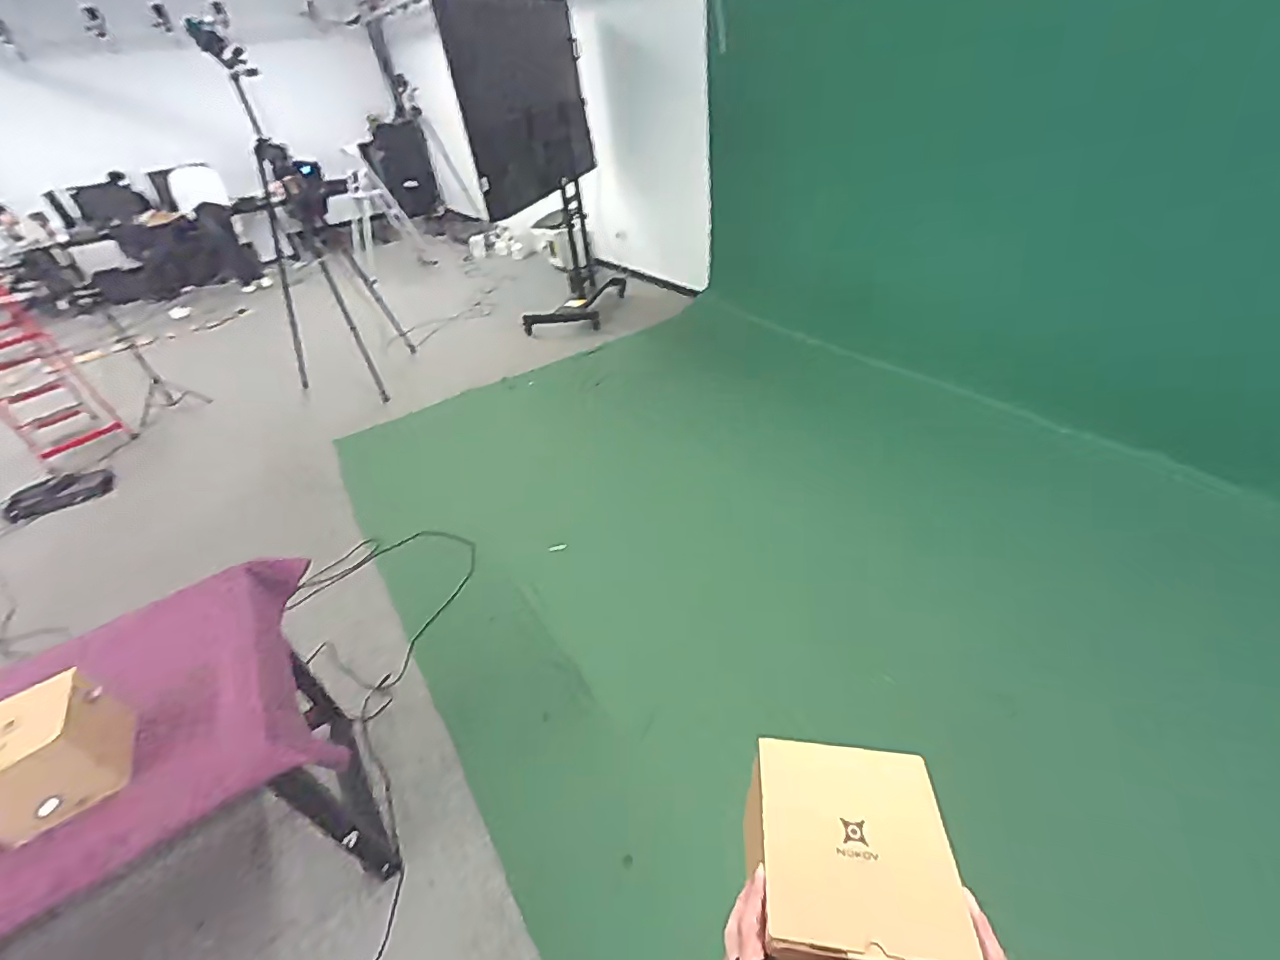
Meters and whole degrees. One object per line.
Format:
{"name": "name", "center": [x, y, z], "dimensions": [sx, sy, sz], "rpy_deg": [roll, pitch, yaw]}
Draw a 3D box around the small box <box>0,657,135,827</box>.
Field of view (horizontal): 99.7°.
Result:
{"name": "small box", "center": [-1.044, 0.460, 0.954], "dimensions": [0.168, 0.176, 0.179], "rpy_deg": [-28, 42, -23]}
